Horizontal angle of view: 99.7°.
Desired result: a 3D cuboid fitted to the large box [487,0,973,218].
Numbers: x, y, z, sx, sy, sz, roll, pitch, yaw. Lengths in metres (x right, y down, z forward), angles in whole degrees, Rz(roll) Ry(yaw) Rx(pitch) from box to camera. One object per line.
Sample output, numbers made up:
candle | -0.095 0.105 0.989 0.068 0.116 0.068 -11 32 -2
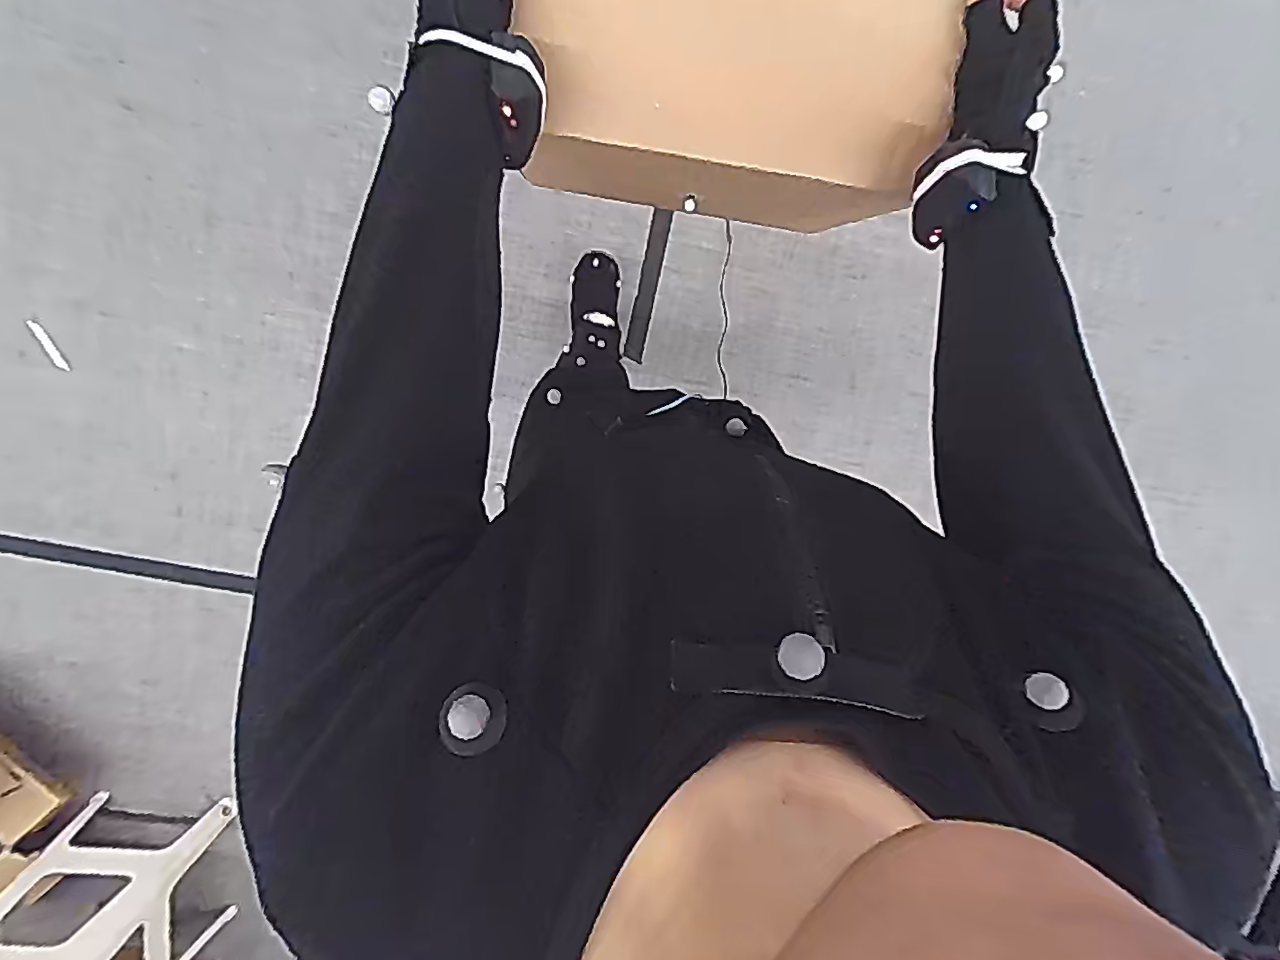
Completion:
large box | 0.079 -0.482 0.568 0.408 0.320 0.320 7 108 -6
